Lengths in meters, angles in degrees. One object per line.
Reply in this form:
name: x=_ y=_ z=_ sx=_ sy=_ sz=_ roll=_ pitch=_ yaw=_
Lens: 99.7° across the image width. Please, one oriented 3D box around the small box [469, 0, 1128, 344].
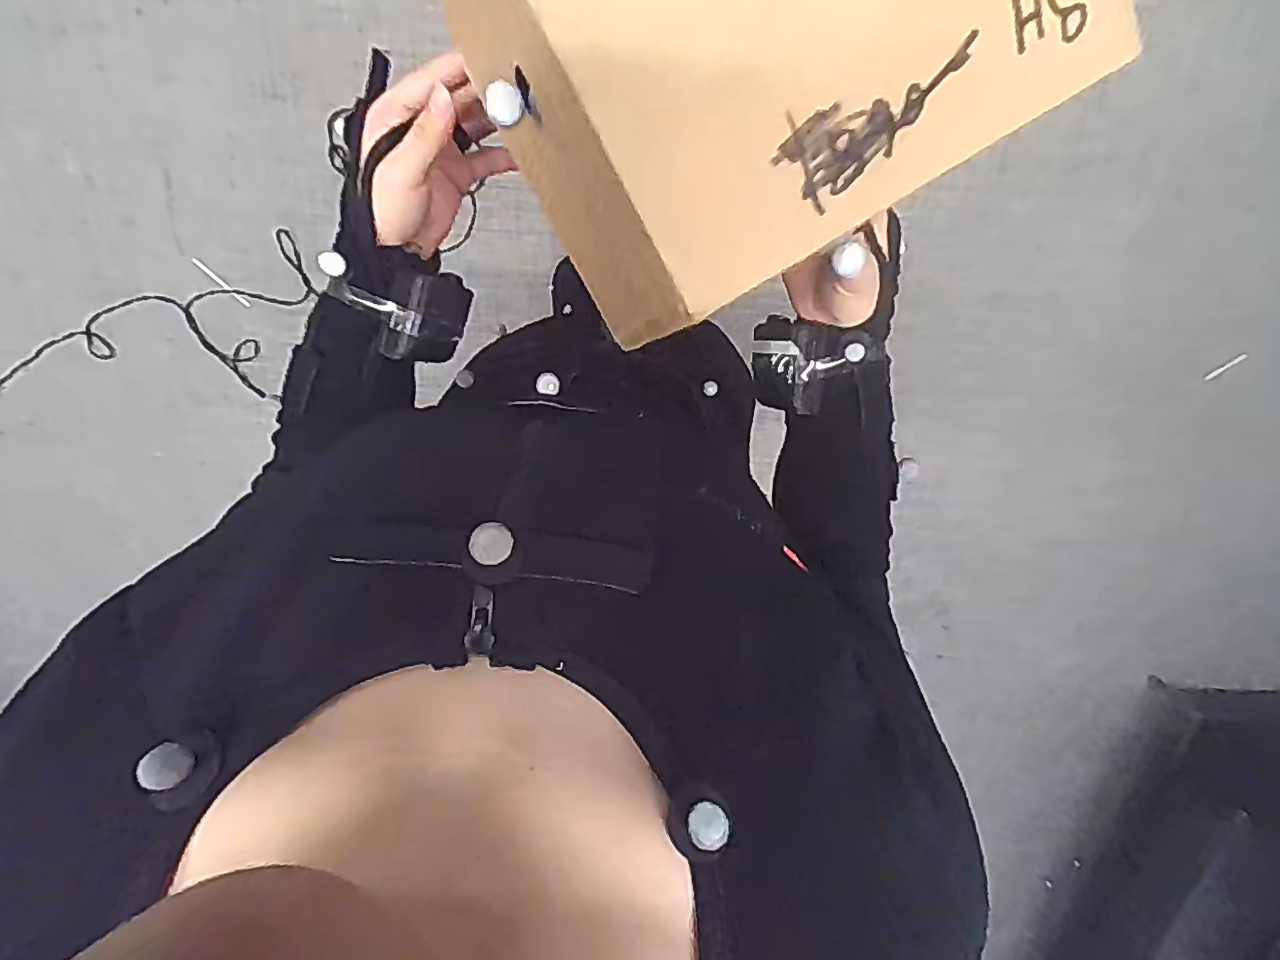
small box: x=0.036 y=-0.176 z=0.233 sx=0.168 sy=0.176 sz=0.179 roll=-32 pitch=103 yaw=-2
